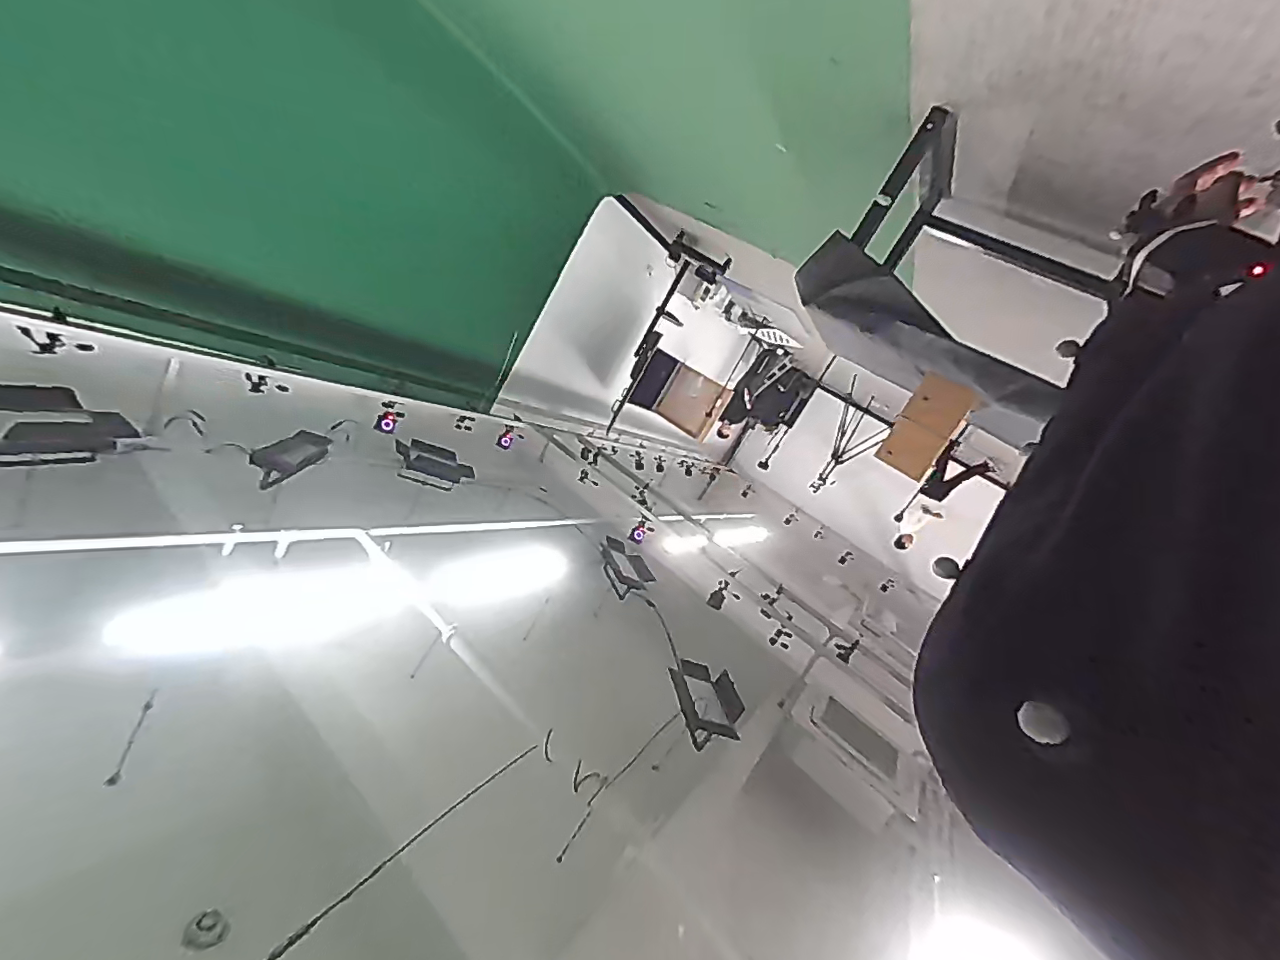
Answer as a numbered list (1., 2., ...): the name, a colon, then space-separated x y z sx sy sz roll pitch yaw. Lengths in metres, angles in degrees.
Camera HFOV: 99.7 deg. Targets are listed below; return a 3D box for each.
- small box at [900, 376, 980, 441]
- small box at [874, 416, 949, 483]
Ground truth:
1. small box: 1.027 -0.247 1.858 0.179 0.176 0.168 36 -165 24
2. small box: 0.953 -0.106 1.895 0.179 0.176 0.168 37 -165 22
